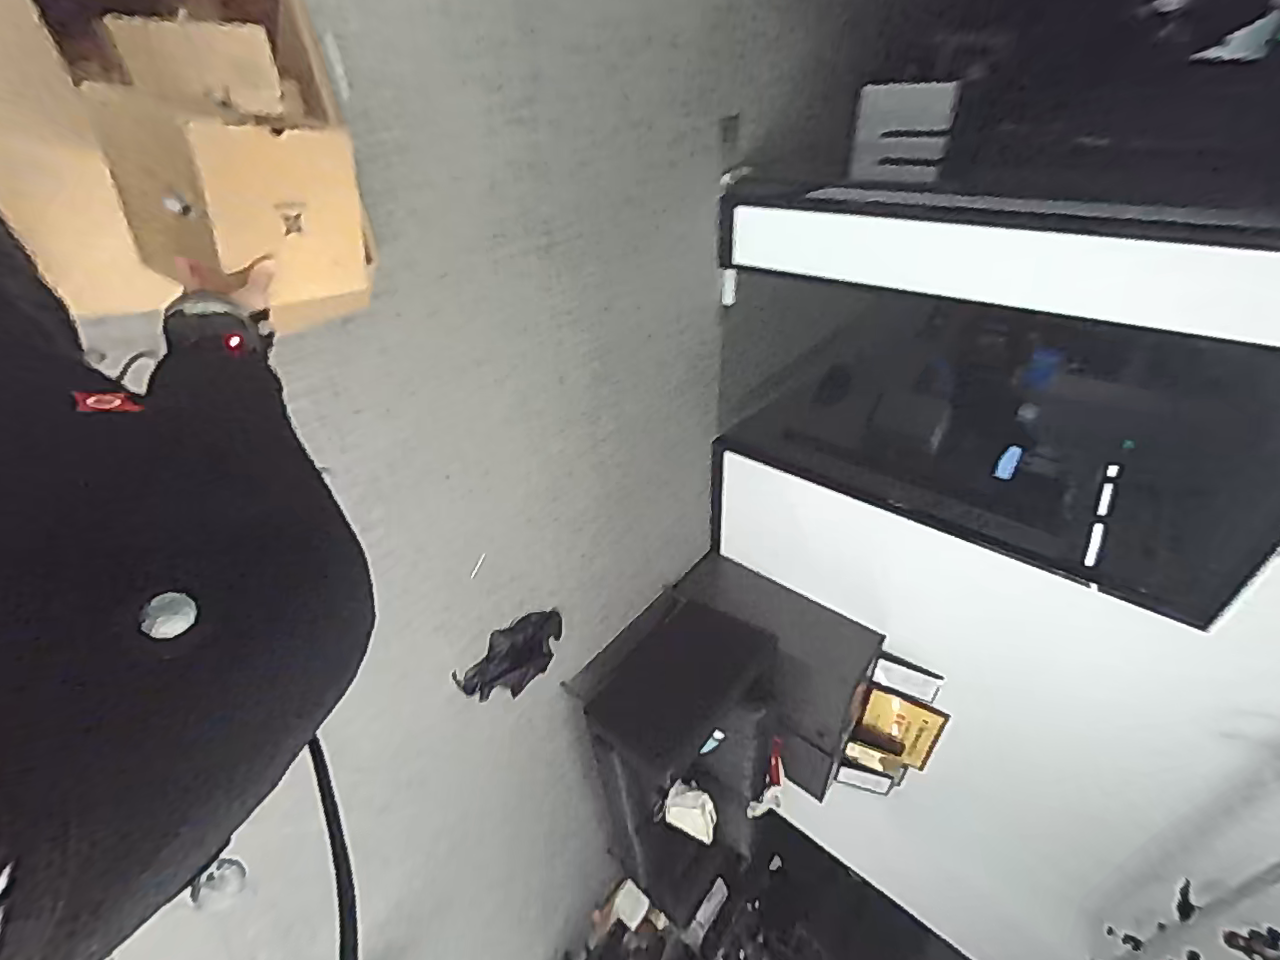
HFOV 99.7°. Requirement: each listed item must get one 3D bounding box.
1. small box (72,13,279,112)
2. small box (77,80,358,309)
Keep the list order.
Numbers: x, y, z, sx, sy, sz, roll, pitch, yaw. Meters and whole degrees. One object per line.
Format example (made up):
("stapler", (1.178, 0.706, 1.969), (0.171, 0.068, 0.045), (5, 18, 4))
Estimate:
("small box", (-0.653, -0.557, 0.782), (0.179, 0.176, 0.168), (-33, 138, -37))
("small box", (-0.449, -0.312, 0.598), (0.168, 0.176, 0.179), (-44, 152, -51))
